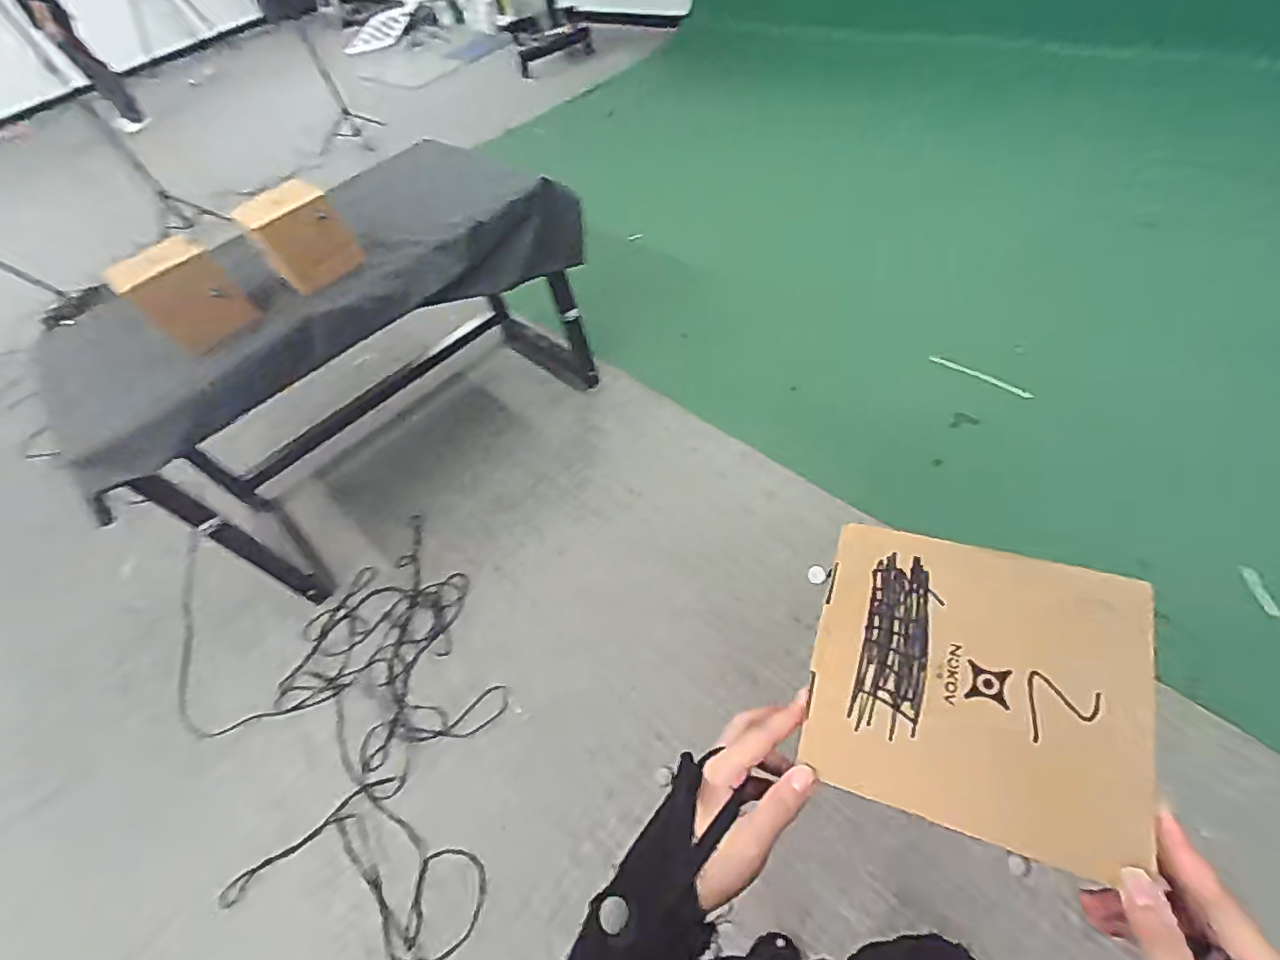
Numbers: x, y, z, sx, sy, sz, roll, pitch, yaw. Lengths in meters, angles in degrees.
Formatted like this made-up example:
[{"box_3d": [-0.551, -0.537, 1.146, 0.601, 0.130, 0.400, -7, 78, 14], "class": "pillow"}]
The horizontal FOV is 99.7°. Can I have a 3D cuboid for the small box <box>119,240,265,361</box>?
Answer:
[{"box_3d": [-0.980, -0.398, 1.201, 0.168, 0.176, 0.179, 31, 66, 32], "class": "small box"}]

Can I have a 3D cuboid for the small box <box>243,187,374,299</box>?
[{"box_3d": [-0.776, -0.558, 1.278, 0.168, 0.176, 0.179, 34, 66, 32], "class": "small box"}]
